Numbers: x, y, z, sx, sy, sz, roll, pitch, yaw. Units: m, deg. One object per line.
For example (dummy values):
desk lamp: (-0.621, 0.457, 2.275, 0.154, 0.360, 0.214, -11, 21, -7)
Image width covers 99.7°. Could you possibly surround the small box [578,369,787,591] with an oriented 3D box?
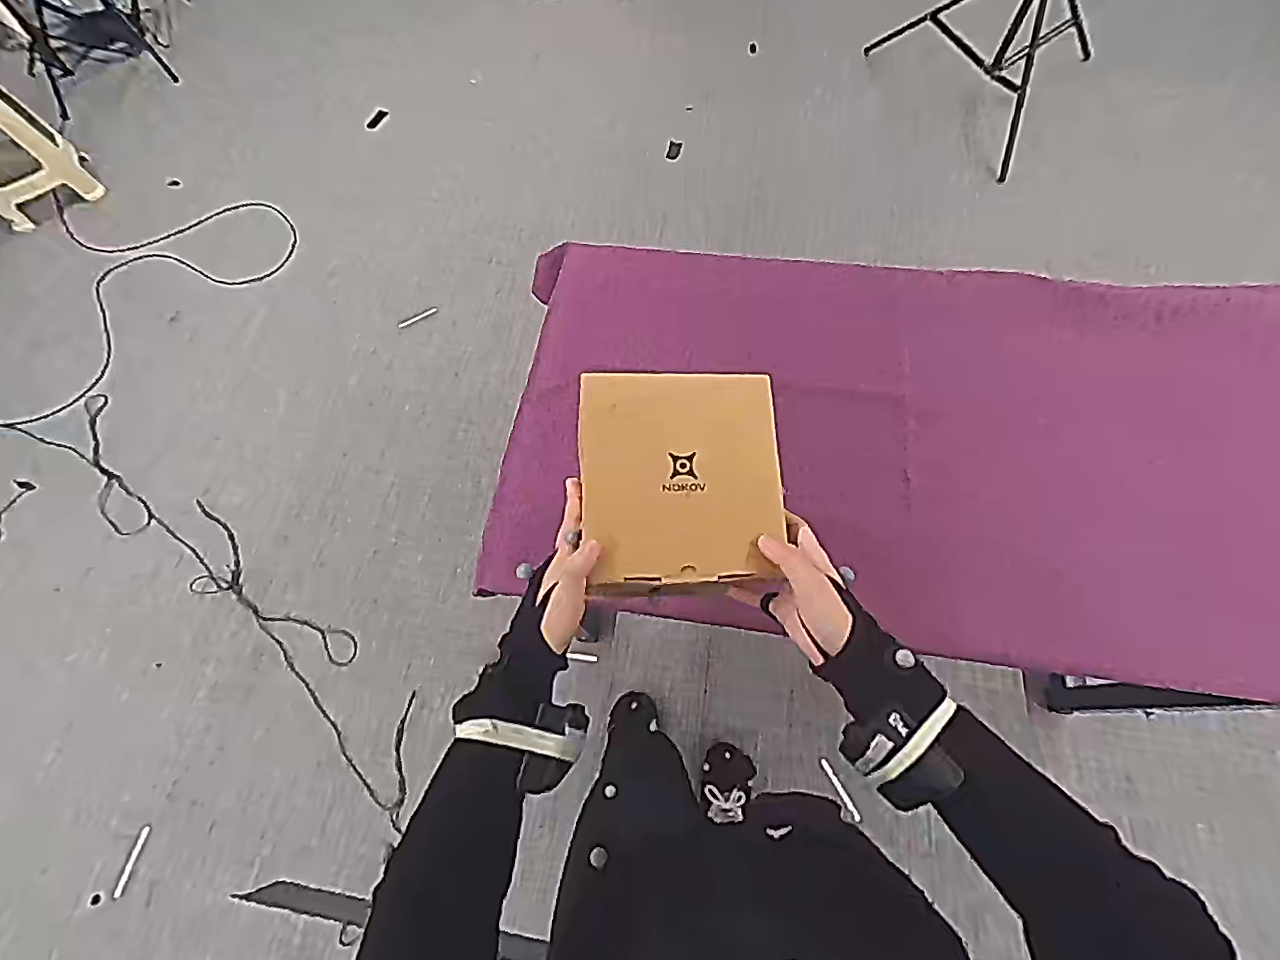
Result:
small box: (0.025, 0.011, 0.520, 0.168, 0.176, 0.179, 0, 75, -6)
